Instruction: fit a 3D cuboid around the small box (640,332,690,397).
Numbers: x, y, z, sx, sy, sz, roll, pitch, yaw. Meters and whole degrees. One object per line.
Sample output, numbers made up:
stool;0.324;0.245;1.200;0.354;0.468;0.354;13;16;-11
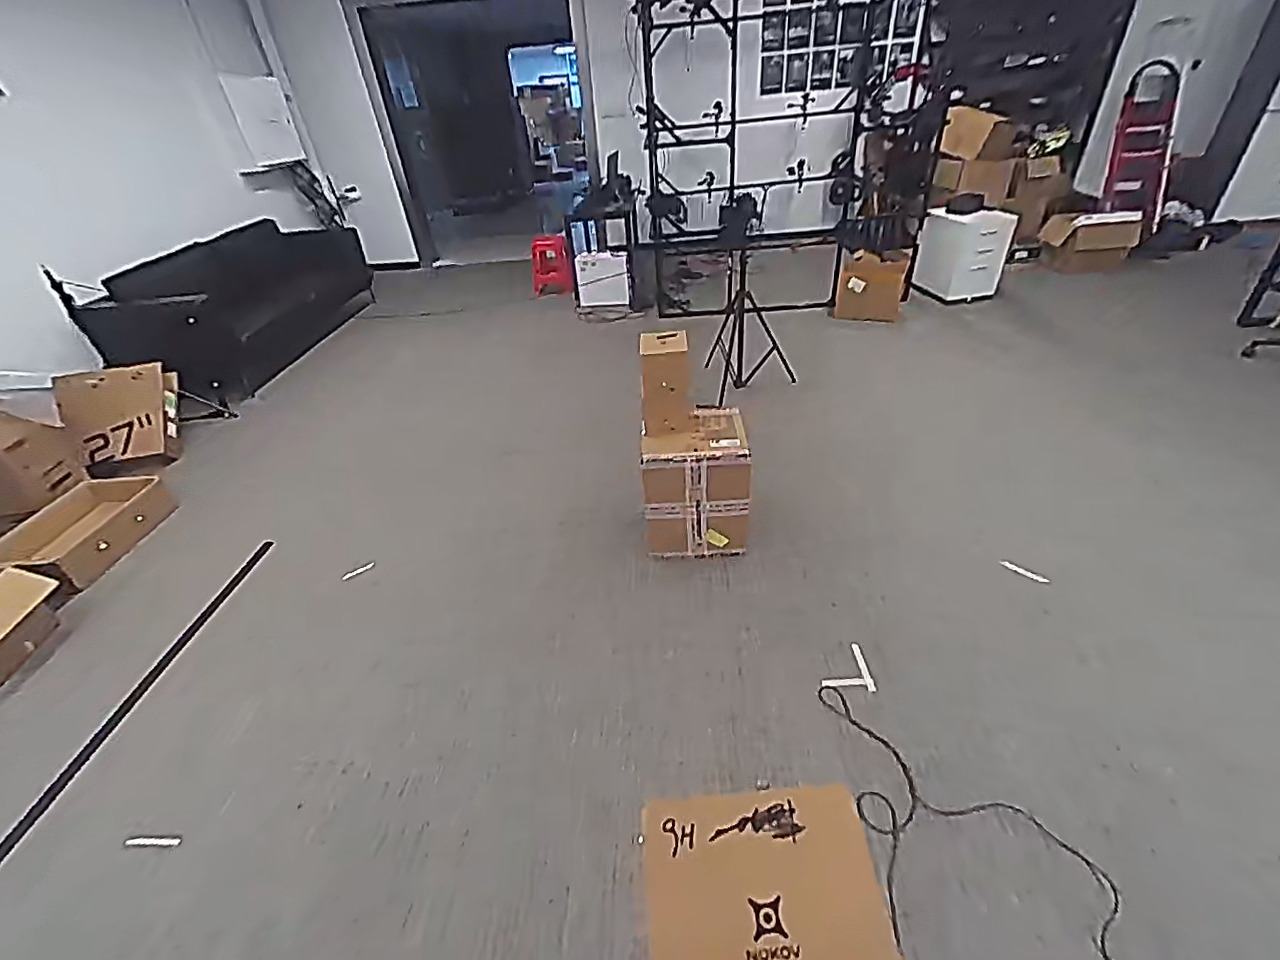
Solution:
small box;0.092;-0.414;1.948;0.168;0.176;0.179;-4;38;5

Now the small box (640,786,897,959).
small box;0.093;0.361;0.419;0.168;0.176;0.179;-6;47;1

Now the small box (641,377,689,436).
small box;0.094;-0.285;2.052;0.168;0.176;0.179;-7;38;2
